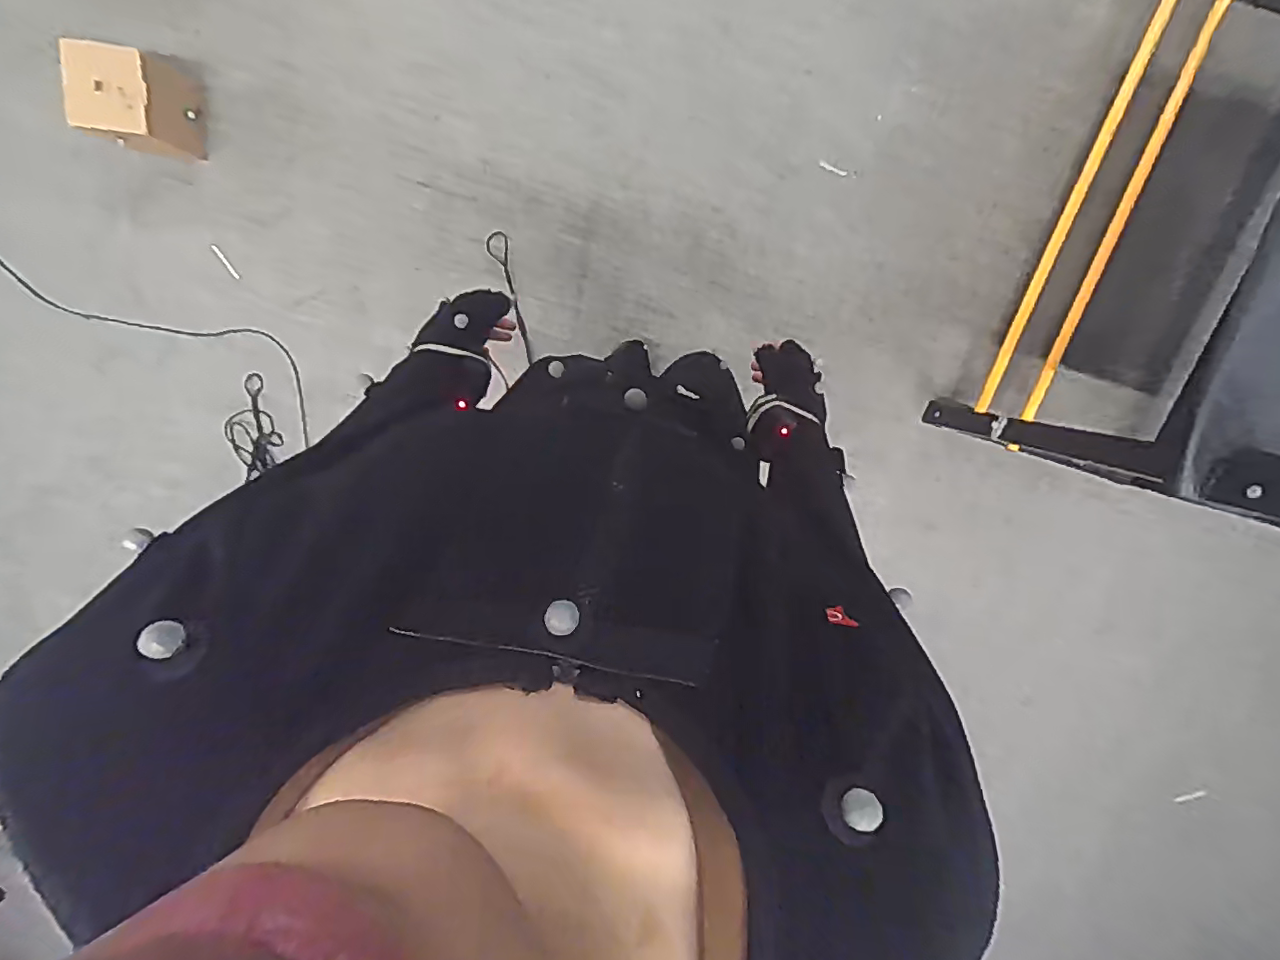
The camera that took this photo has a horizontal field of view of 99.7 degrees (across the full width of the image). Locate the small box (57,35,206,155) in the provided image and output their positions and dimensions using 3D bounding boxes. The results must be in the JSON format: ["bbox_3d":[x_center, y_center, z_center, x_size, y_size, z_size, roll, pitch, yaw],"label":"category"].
[{"bbox_3d":[-1.135,-0.856,1.220,0.179,0.176,0.168,7,104,0],"label":"small box"}]
